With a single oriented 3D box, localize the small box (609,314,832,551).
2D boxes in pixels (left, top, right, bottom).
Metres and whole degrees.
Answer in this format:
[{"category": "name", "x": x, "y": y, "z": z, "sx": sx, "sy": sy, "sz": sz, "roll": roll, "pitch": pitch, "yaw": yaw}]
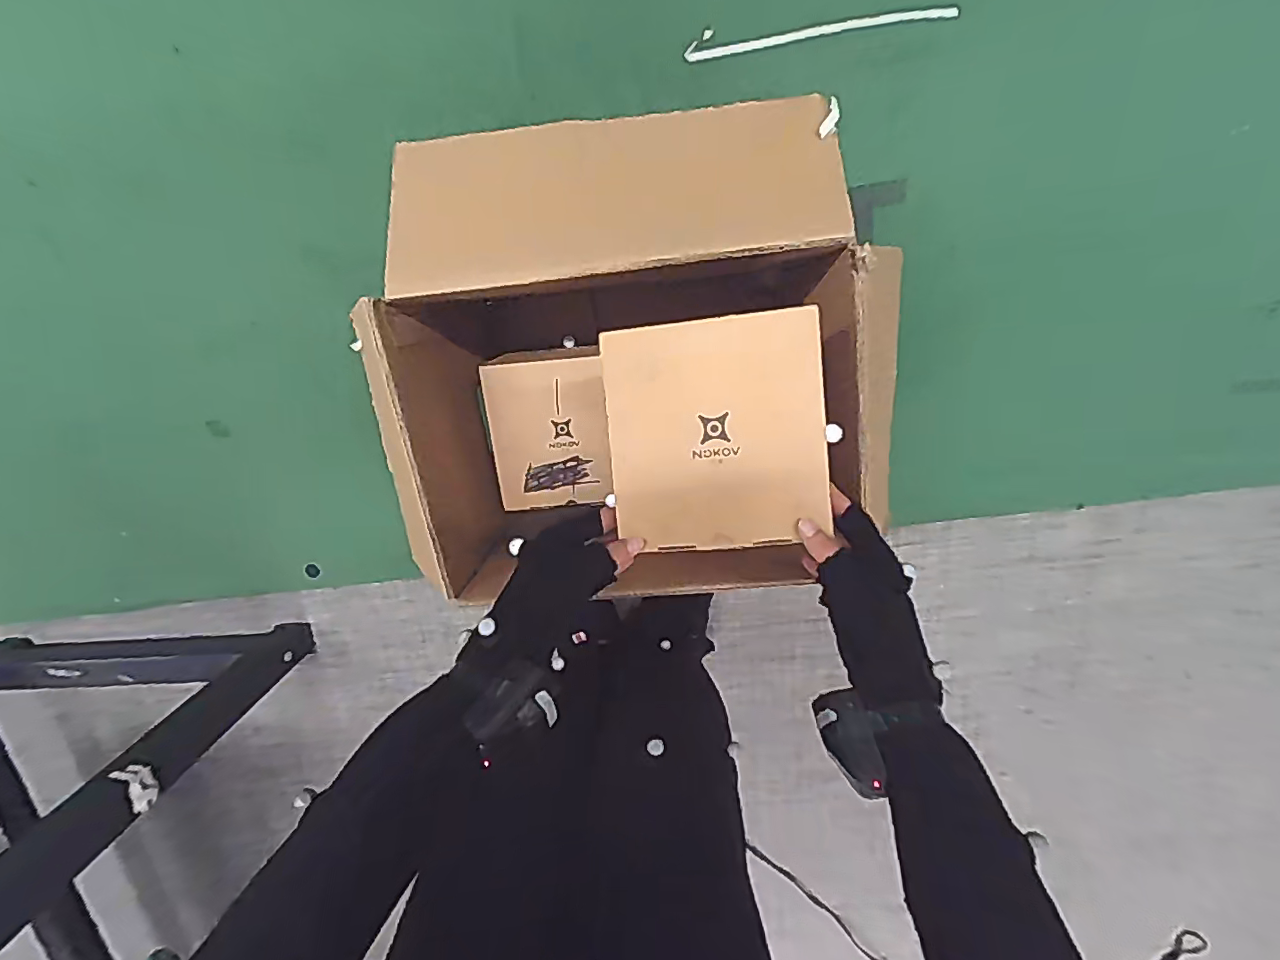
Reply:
[{"category": "small box", "x": 0.072, "y": -0.039, "z": 0.499, "sx": 0.168, "sy": 0.176, "sz": 0.179, "roll": -4, "pitch": 95, "yaw": 9}]
